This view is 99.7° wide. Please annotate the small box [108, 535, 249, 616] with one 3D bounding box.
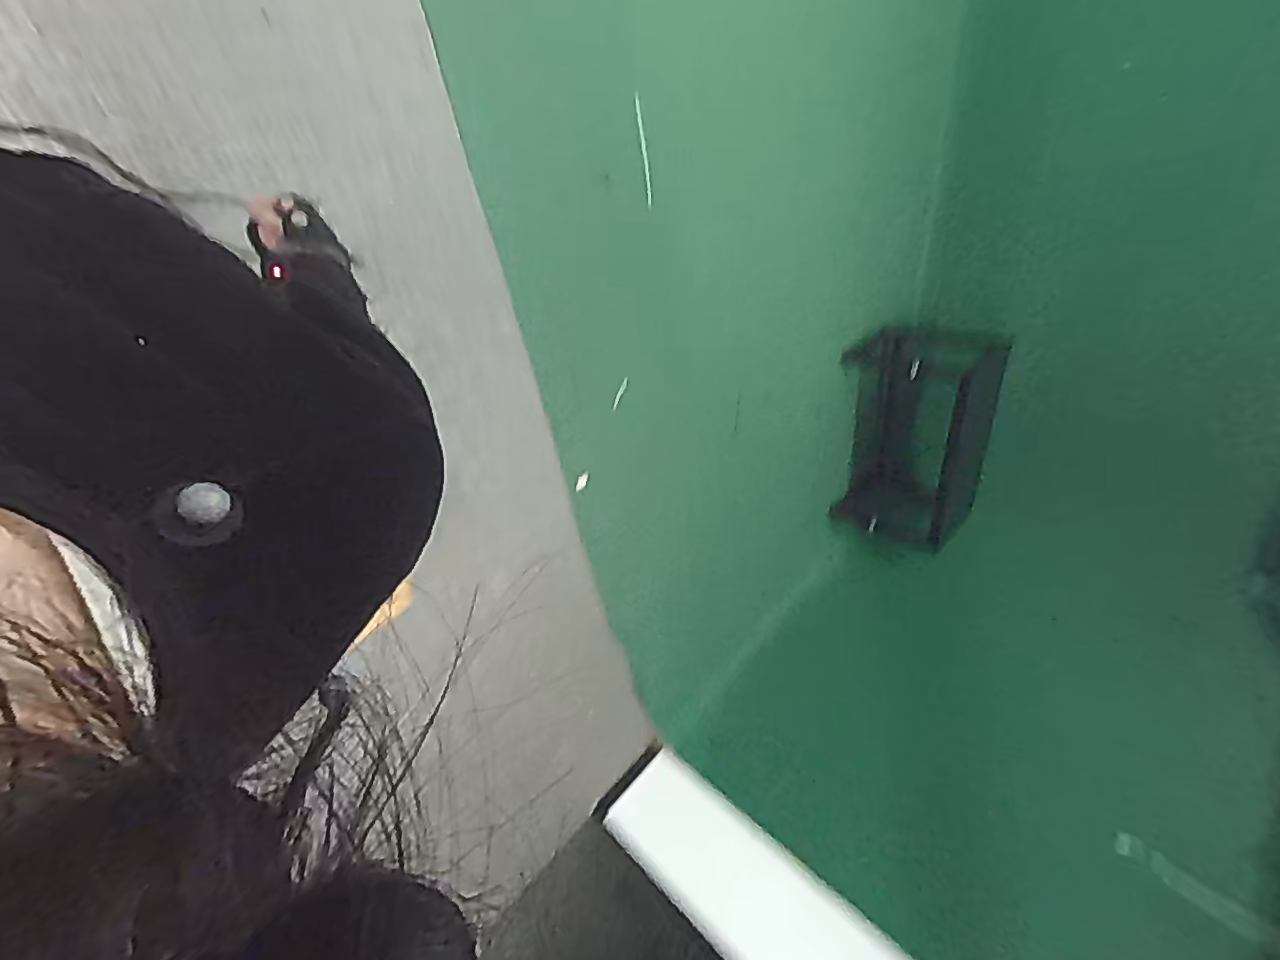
[{"bbox_3d":[-1.016,0.252,1.195,0.179,0.176,0.168,-38,130,-29],"label":"small box"}]
